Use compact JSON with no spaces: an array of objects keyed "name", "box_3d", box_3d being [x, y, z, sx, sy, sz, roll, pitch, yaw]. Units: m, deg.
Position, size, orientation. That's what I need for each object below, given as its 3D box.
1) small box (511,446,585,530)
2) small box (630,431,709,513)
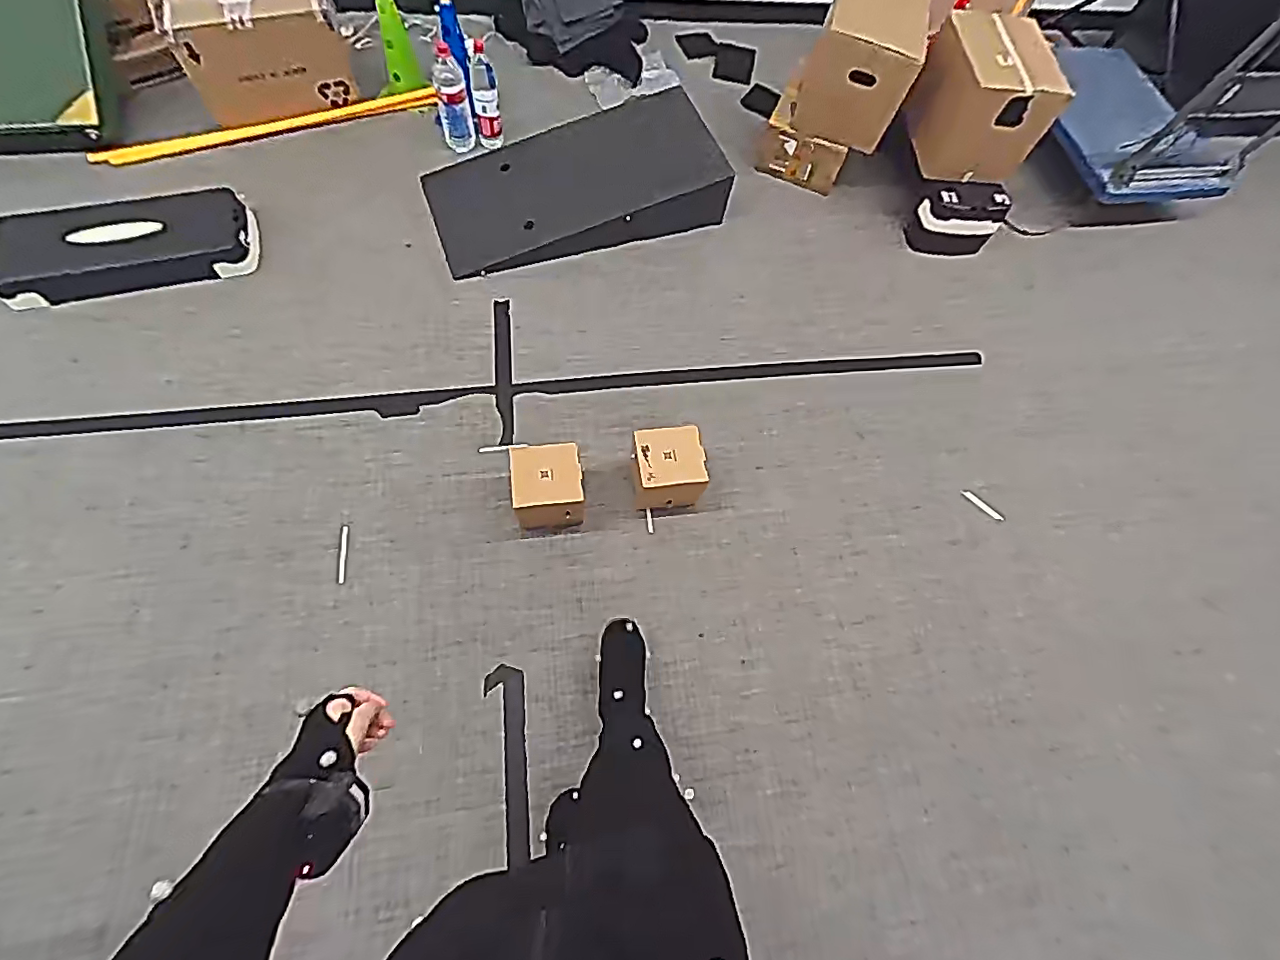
[{"name":"small box","box_3d":[-0.239,0.025,1.418,0.179,0.176,0.168,-5,67,-8]},{"name":"small box","box_3d":[0.074,-0.019,1.472,0.179,0.176,0.168,-5,67,-9]}]
